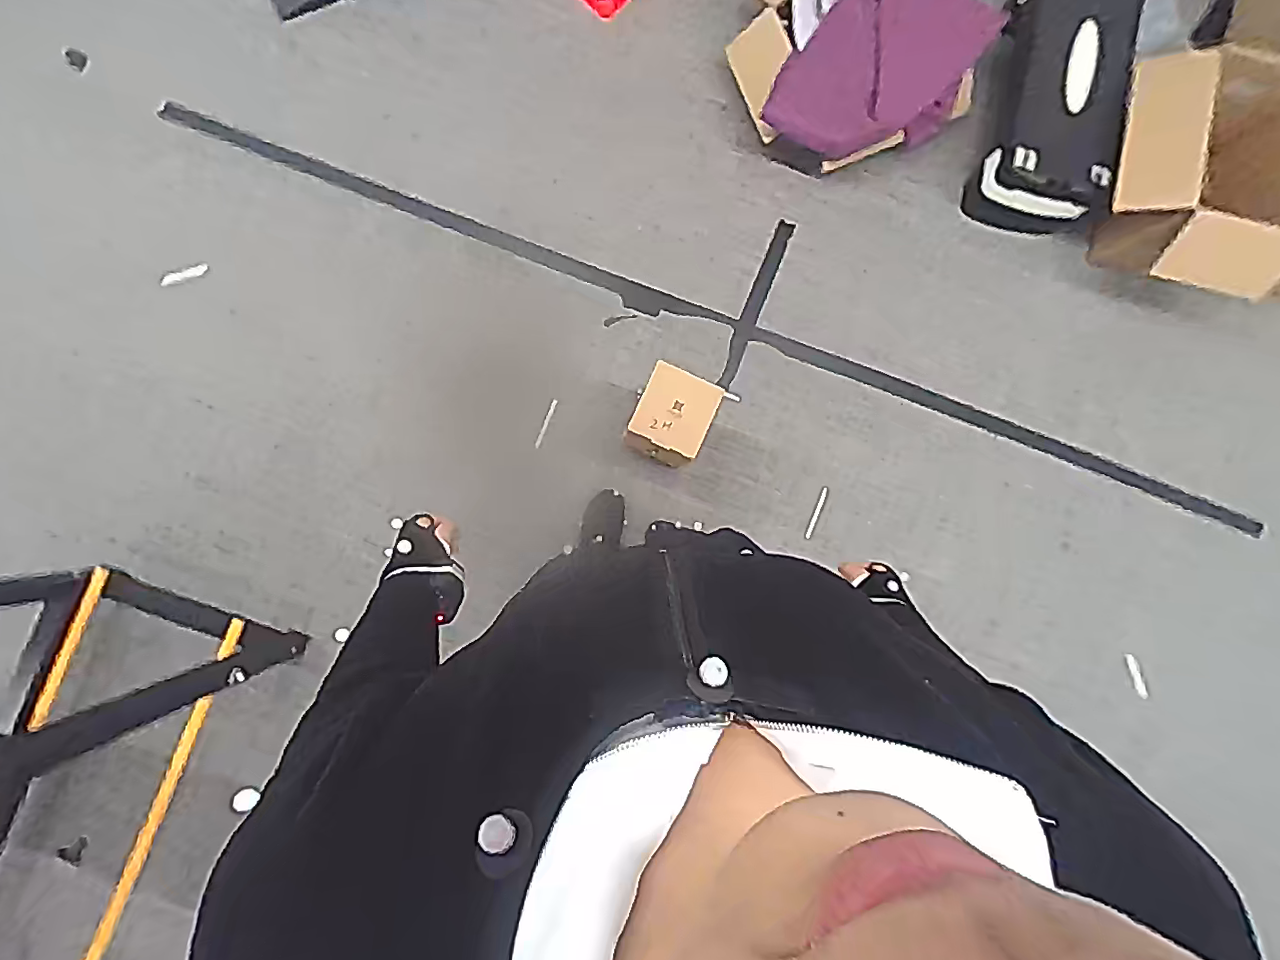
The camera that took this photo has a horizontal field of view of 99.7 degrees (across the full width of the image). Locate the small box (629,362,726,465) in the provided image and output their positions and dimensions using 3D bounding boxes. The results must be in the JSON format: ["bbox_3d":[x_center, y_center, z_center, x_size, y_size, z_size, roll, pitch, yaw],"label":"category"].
[{"bbox_3d":[0.080,-0.149,1.274,0.168,0.176,0.179,25,88,0],"label":"small box"}]

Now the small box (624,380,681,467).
[{"bbox_3d":[0.067,-0.140,1.438,0.179,0.176,0.168,25,87,-1],"label":"small box"}]
